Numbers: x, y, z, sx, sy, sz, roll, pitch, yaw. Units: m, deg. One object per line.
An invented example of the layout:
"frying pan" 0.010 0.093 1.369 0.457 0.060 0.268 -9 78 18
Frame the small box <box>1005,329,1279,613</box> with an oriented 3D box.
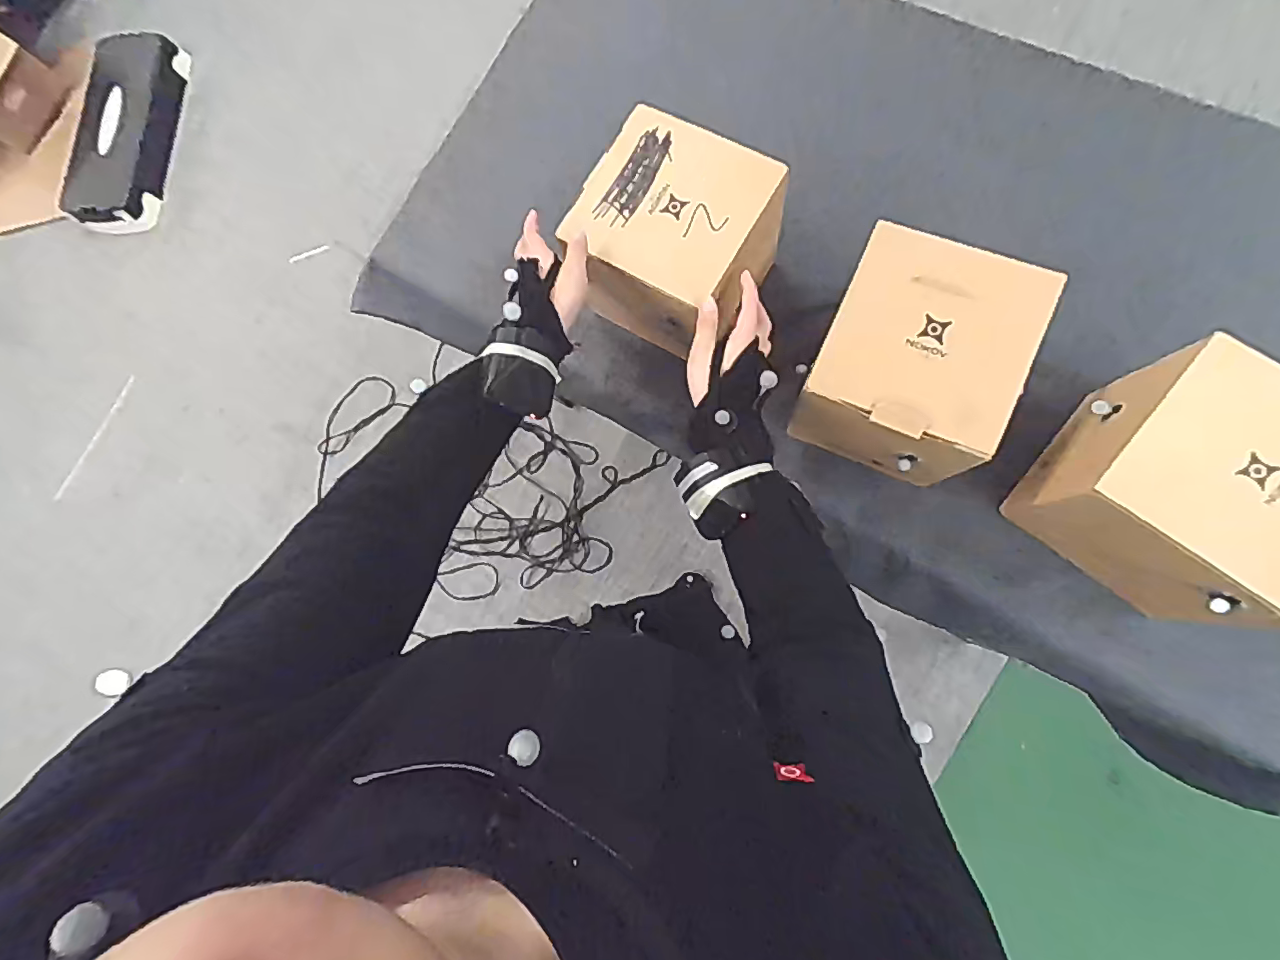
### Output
"small box" 0.490 0.003 0.494 0.179 0.176 0.168 39 89 12
